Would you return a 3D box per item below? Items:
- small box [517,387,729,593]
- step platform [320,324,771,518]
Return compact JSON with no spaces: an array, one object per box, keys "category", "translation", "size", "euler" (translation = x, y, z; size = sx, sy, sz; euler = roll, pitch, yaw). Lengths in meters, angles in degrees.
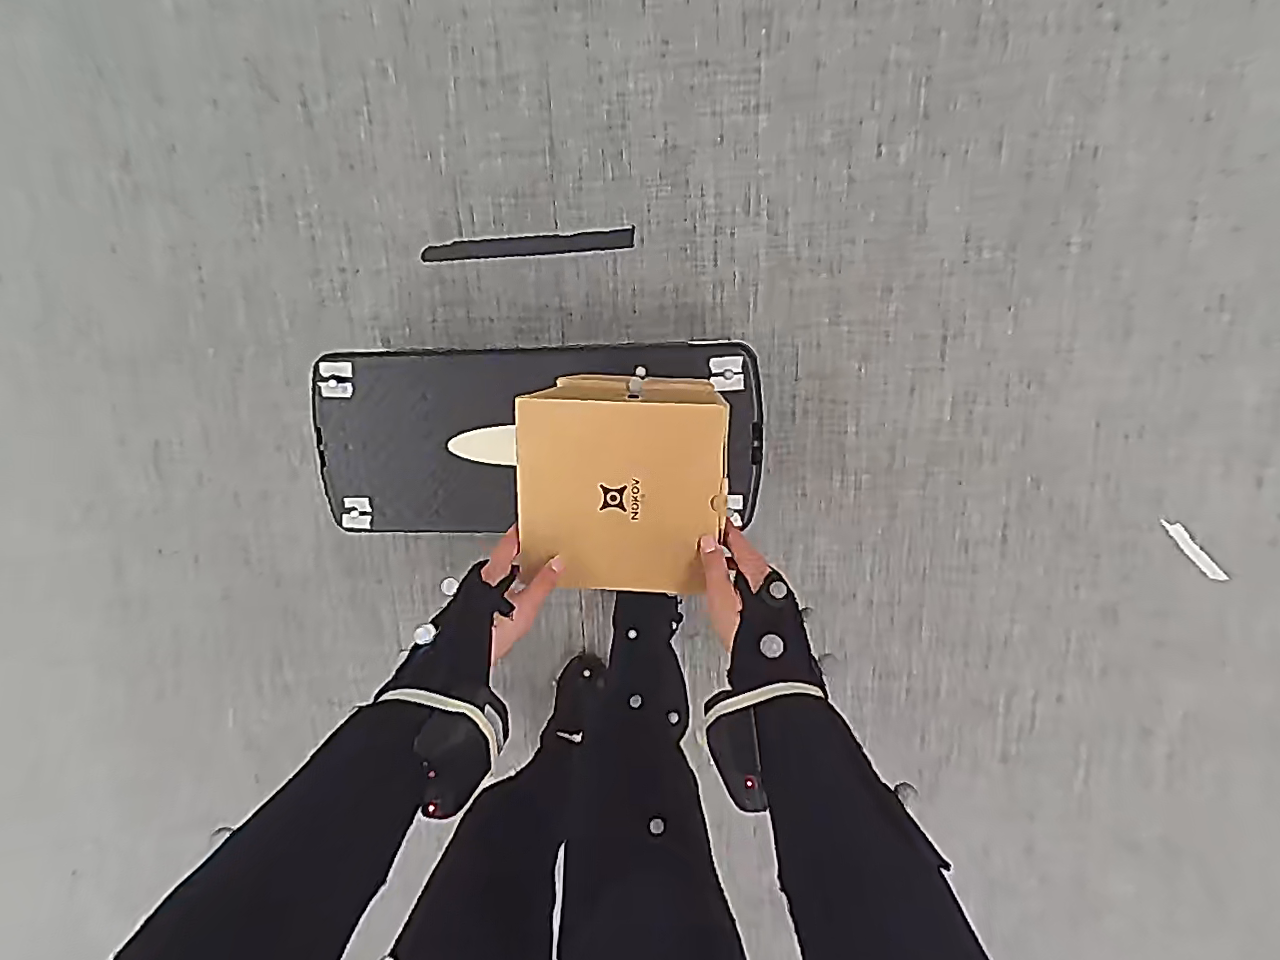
[{"category":"small box","translation":[-0.011,-0.003,0.532],"size":[0.179,0.176,0.168],"euler":[2,102,3]},{"category":"step platform","translation":[-0.139,-0.092,0.866],"size":[0.684,0.204,0.286],"euler":[-1,102,5]}]
